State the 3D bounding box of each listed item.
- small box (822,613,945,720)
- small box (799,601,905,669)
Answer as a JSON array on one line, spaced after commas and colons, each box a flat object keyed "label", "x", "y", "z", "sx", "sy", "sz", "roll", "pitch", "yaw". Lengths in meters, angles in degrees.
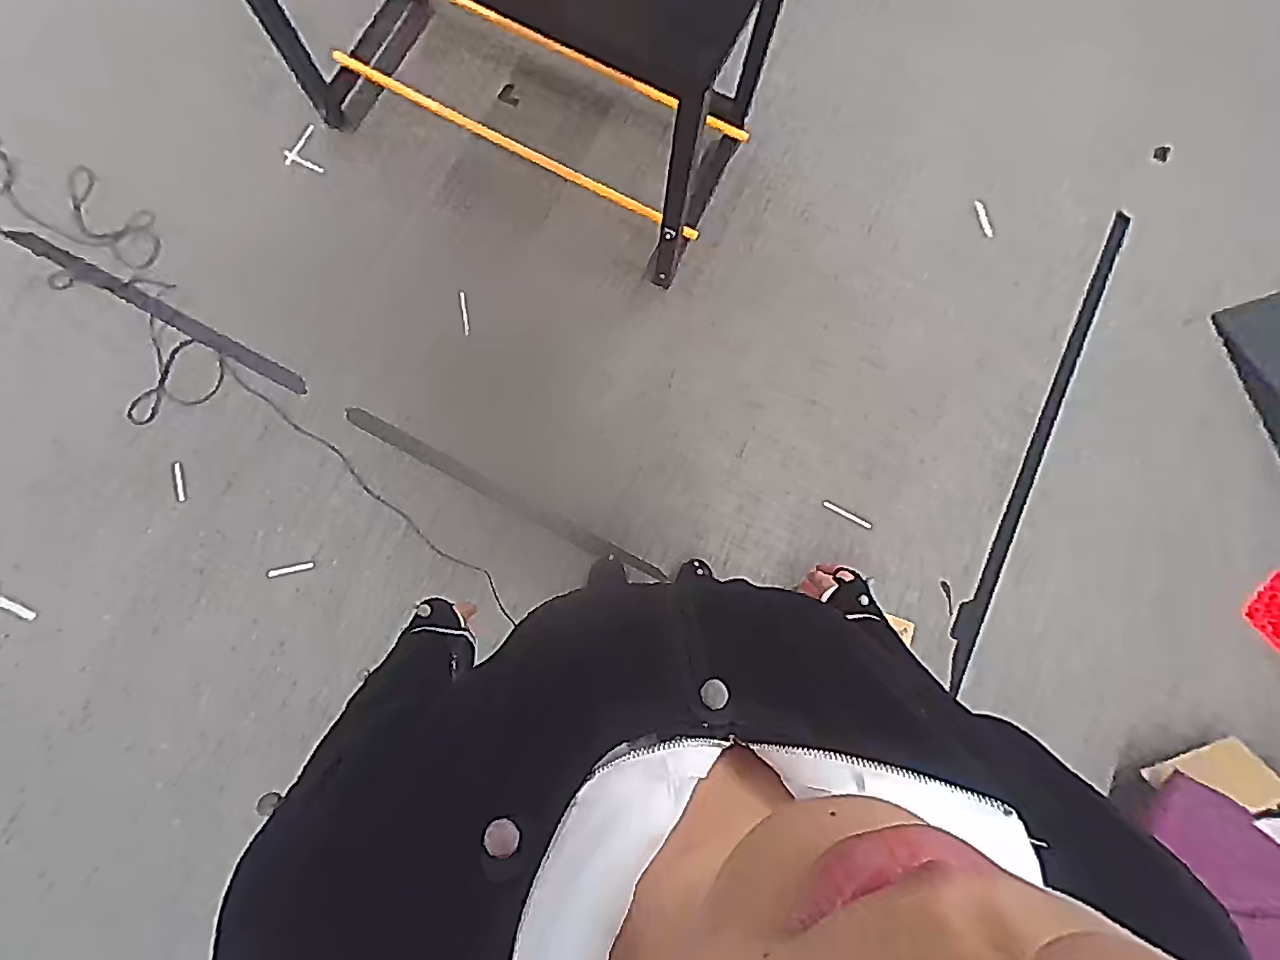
[{"label": "small box", "x": 0.527, "y": 0.400, "z": 1.192, "sx": 0.179, "sy": 0.176, "sz": 0.168, "roll": 19, "pitch": 80, "yaw": 1}, {"label": "small box", "x": 0.527, "y": 0.410, "z": 1.357, "sx": 0.179, "sy": 0.176, "sz": 0.168, "roll": 20, "pitch": 80, "yaw": 2}]
